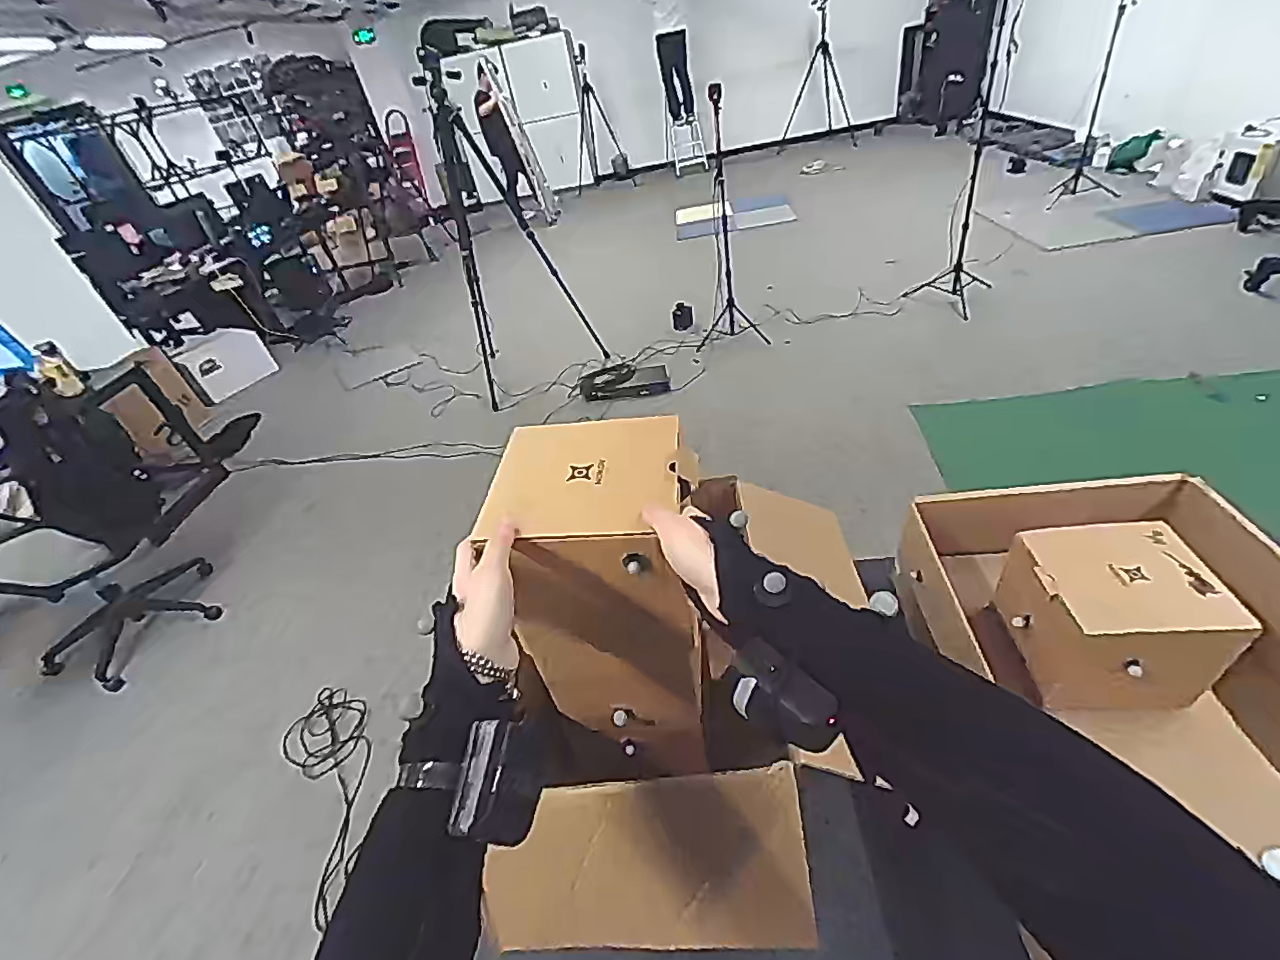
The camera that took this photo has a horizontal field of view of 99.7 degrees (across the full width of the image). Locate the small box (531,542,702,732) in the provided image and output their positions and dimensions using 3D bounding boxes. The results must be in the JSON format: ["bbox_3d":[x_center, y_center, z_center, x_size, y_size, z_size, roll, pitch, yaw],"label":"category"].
[{"bbox_3d":[-0.014,0.180,0.658,0.168,0.176,0.179,-3,41,10],"label":"small box"}]

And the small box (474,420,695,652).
[{"bbox_3d":[-0.038,0.059,0.545,0.179,0.176,0.168,-3,40,6],"label":"small box"}]
